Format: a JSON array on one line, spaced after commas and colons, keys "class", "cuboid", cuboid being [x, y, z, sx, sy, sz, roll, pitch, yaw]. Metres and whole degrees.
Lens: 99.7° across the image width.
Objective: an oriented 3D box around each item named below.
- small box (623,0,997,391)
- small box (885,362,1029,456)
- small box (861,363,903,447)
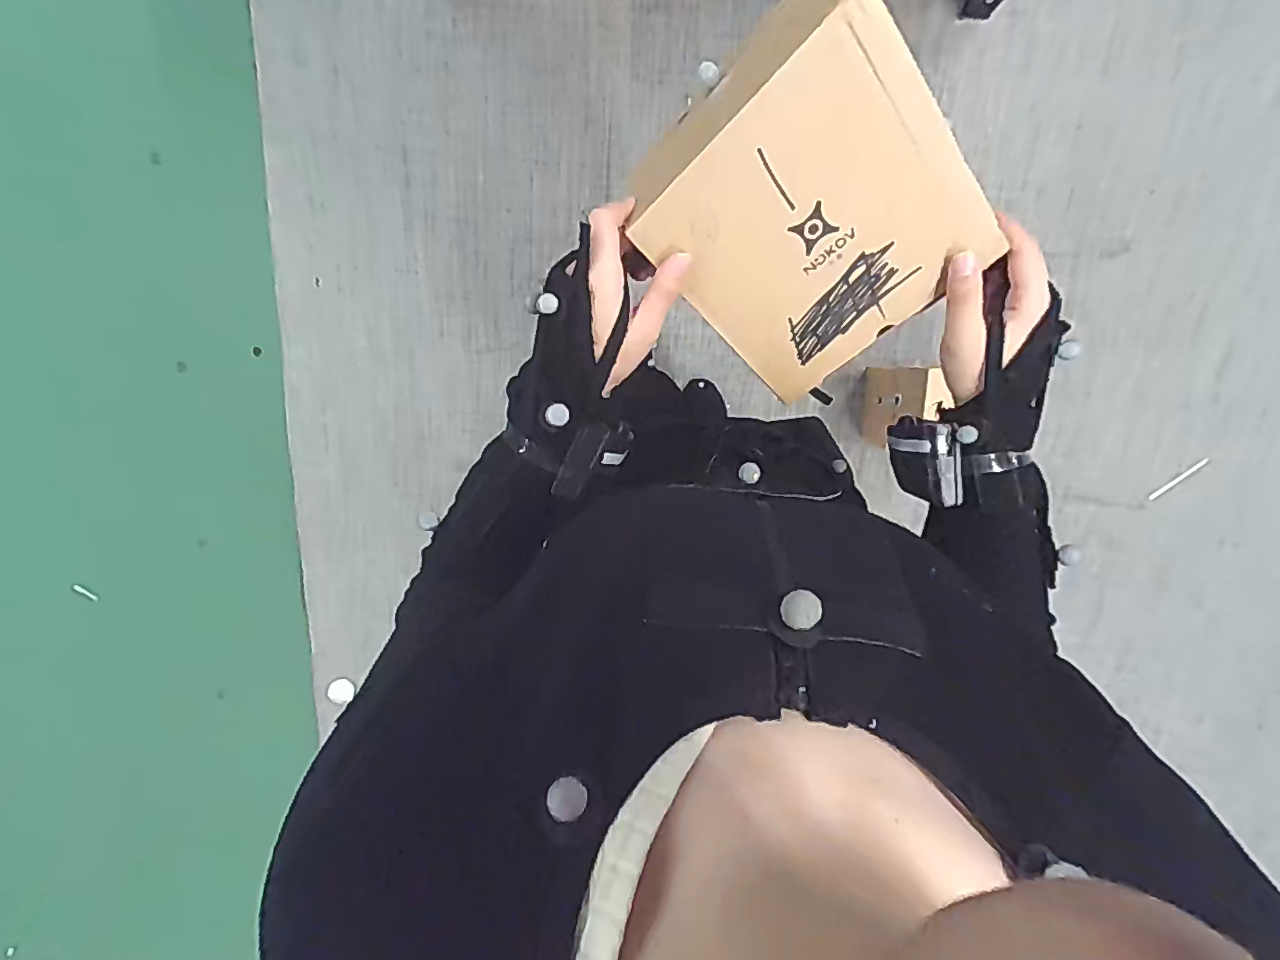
[{"class": "small box", "cuboid": [0.107, -0.206, 0.391, 0.168, 0.176, 0.179, -36, 121, 27]}, {"class": "small box", "cuboid": [0.599, -0.143, 1.044, 0.179, 0.176, 0.168, 0, 103, 6]}, {"class": "small box", "cuboid": [0.607, -0.171, 1.205, 0.168, 0.176, 0.179, 1, 103, 5]}]
